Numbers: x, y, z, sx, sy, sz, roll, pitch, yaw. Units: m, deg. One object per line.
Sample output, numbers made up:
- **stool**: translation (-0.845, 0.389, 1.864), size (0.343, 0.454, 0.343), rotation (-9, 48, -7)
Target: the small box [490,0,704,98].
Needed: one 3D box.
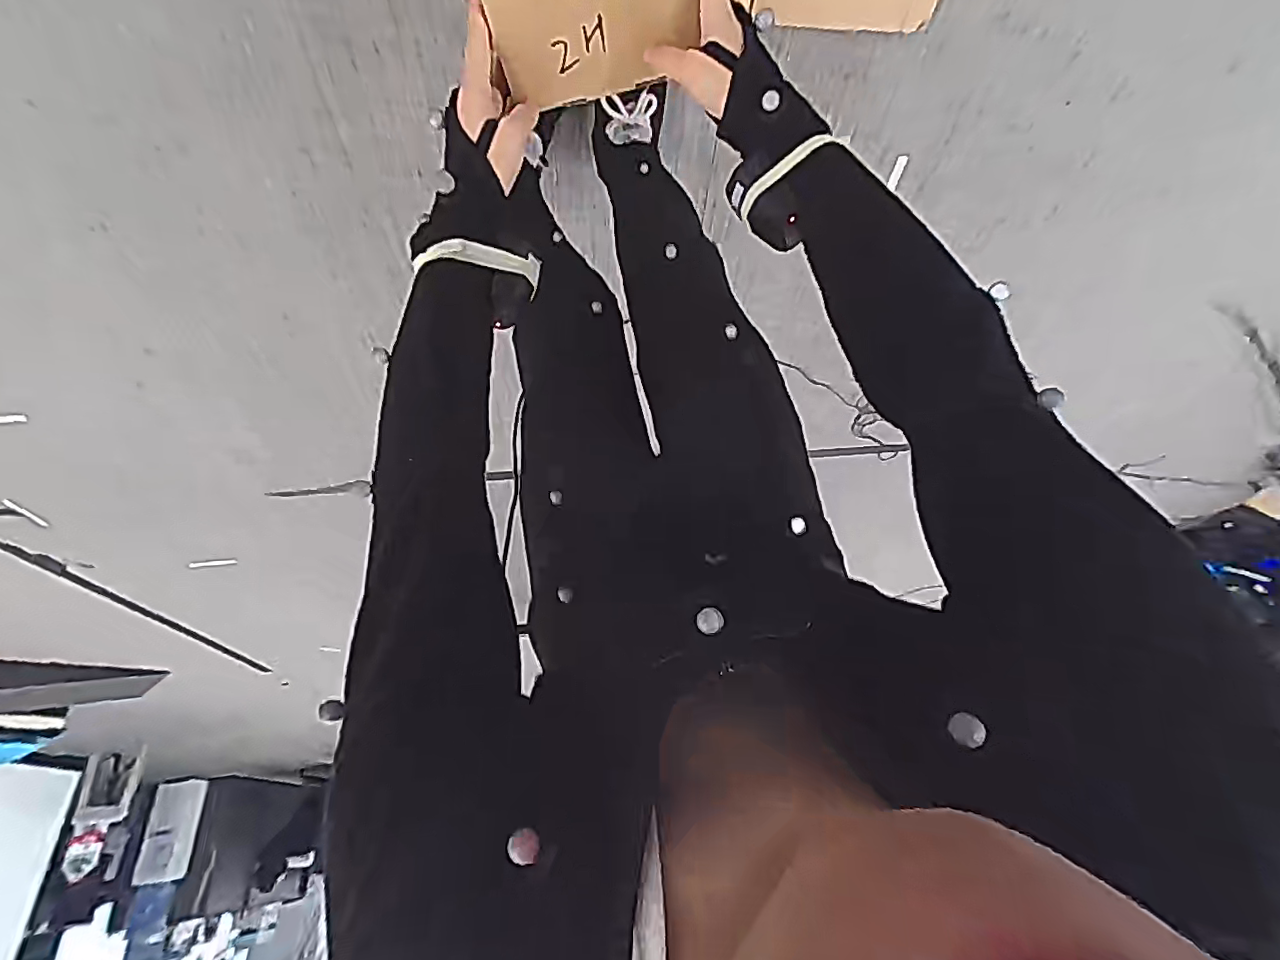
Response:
- **small box**: translation (-0.052, -0.454, 0.429), size (0.168, 0.176, 0.179), rotation (-13, 148, 3)
